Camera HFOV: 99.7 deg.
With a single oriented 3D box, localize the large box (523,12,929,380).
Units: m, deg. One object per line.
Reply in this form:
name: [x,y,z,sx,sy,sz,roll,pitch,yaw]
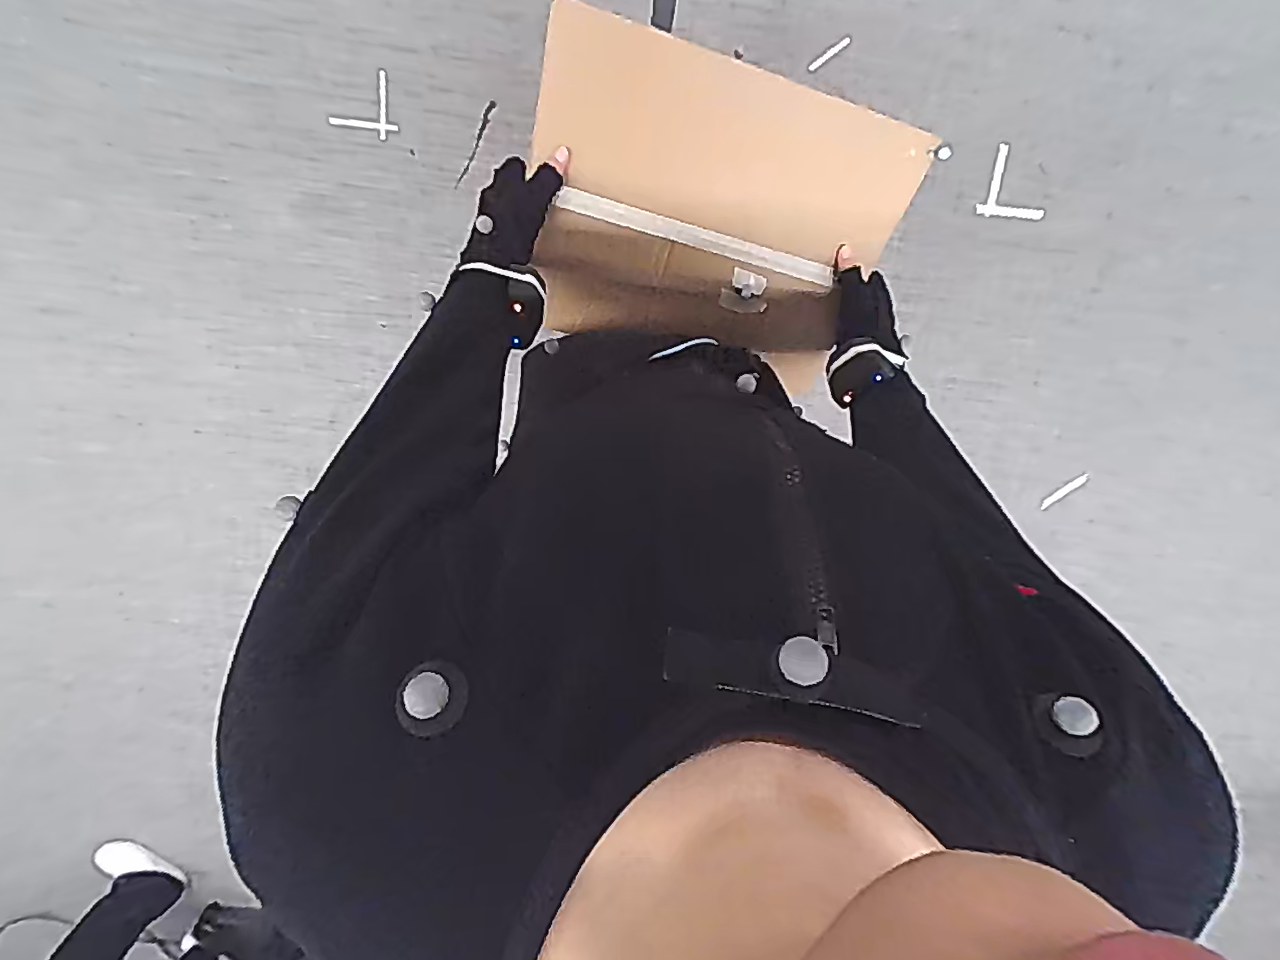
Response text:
large box: [0.074,-0.383,0.743,0.408,0.320,0.320,11,130,-11]
